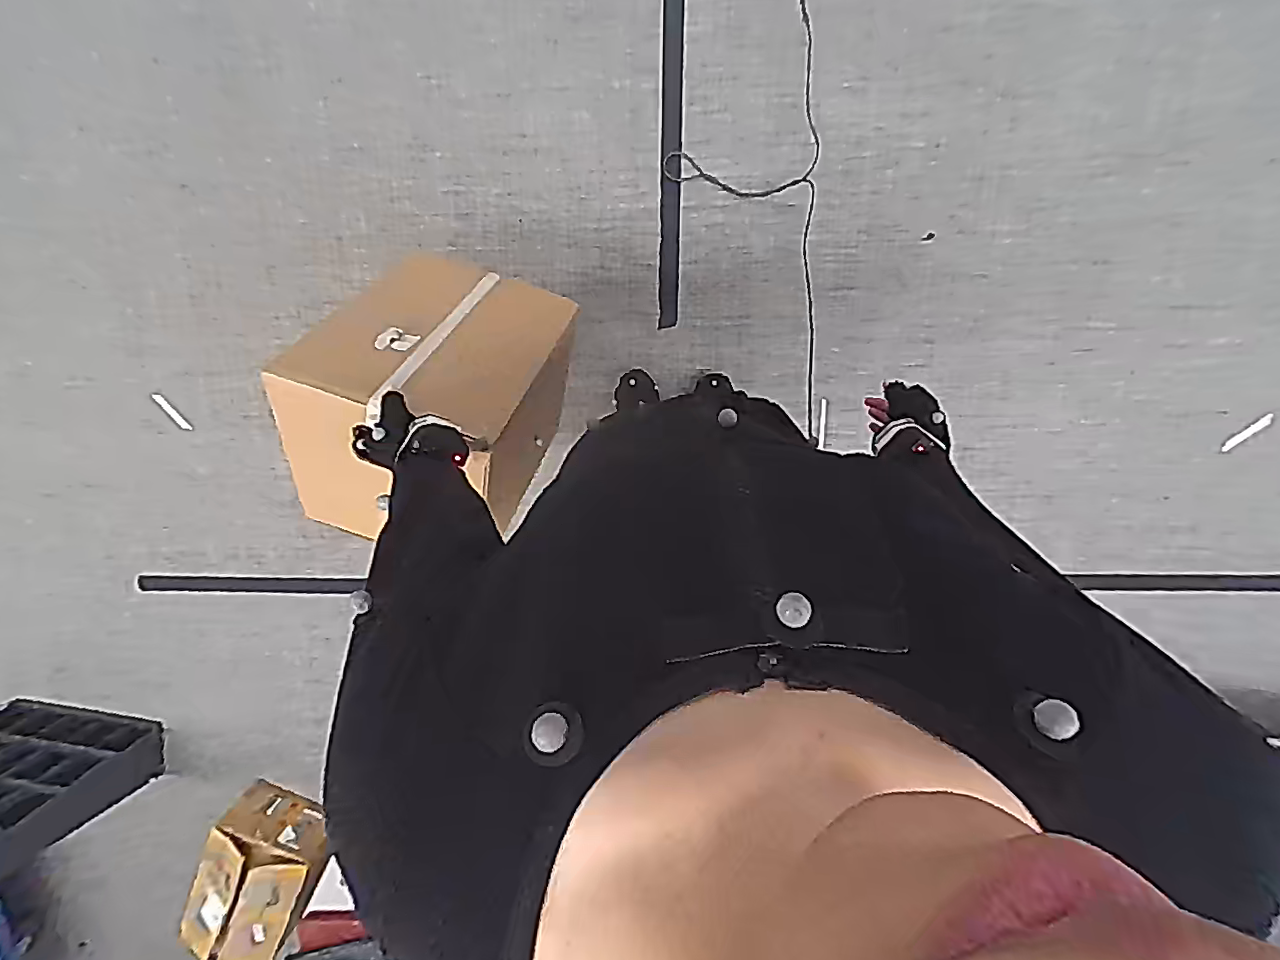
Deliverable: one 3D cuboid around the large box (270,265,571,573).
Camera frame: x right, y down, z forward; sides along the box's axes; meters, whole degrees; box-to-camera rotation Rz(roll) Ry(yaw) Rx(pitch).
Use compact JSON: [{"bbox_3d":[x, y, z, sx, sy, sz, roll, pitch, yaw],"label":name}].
[{"bbox_3d":[-0.342,-0.116,0.959,0.320,0.408,0.320,18,135,0],"label":"large box"}]
